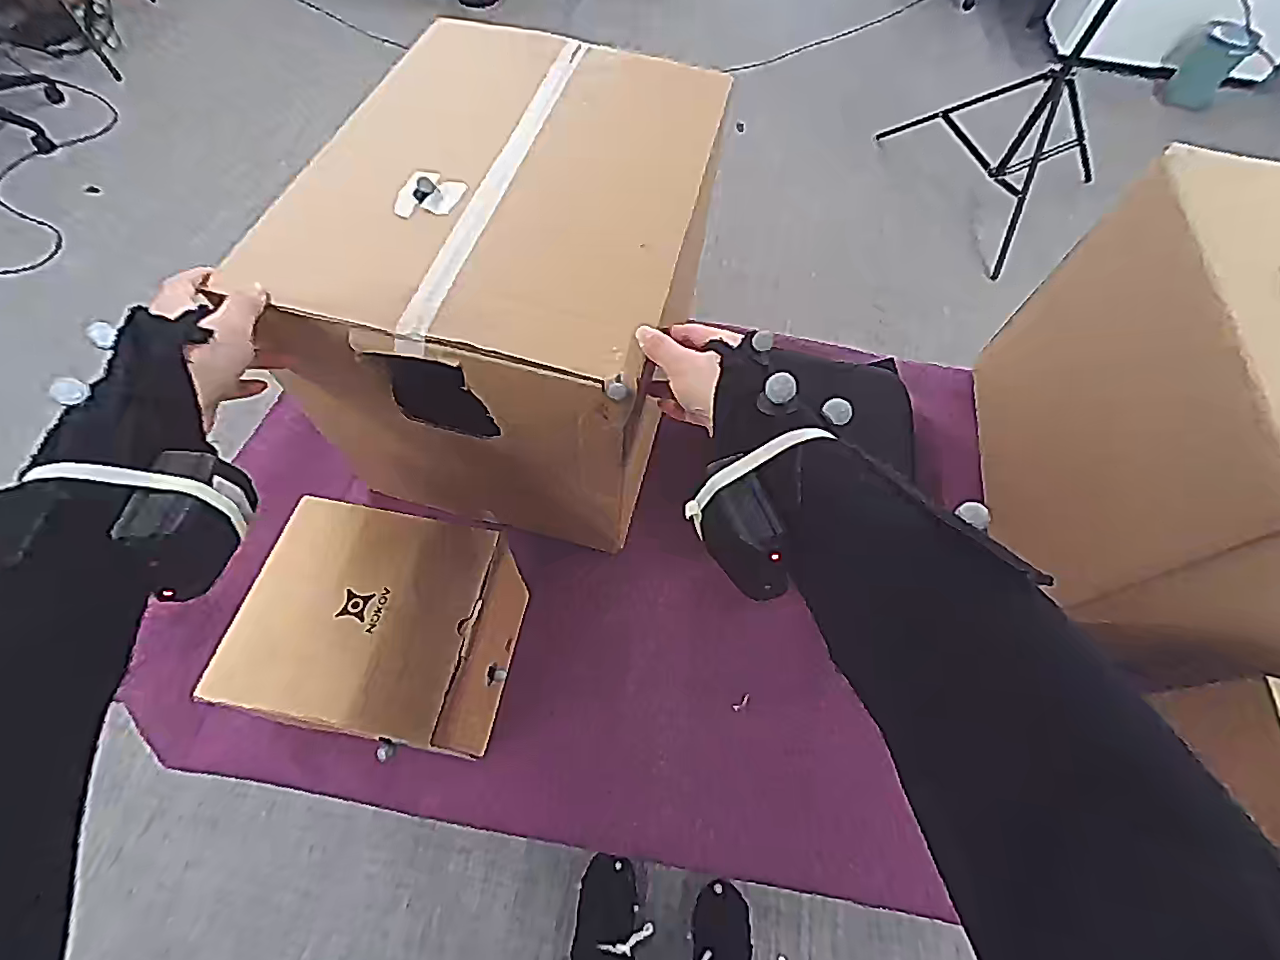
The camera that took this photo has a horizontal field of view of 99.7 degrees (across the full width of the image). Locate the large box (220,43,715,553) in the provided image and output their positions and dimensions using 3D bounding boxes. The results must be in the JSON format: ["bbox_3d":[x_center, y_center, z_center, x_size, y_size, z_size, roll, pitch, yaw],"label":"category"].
[{"bbox_3d":[-0.121,-0.181,0.598,0.320,0.320,0.408,13,64,4],"label":"large box"}]

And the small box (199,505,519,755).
[{"bbox_3d":[-0.224,0.144,0.492,0.179,0.176,0.168,10,60,1],"label":"small box"}]
